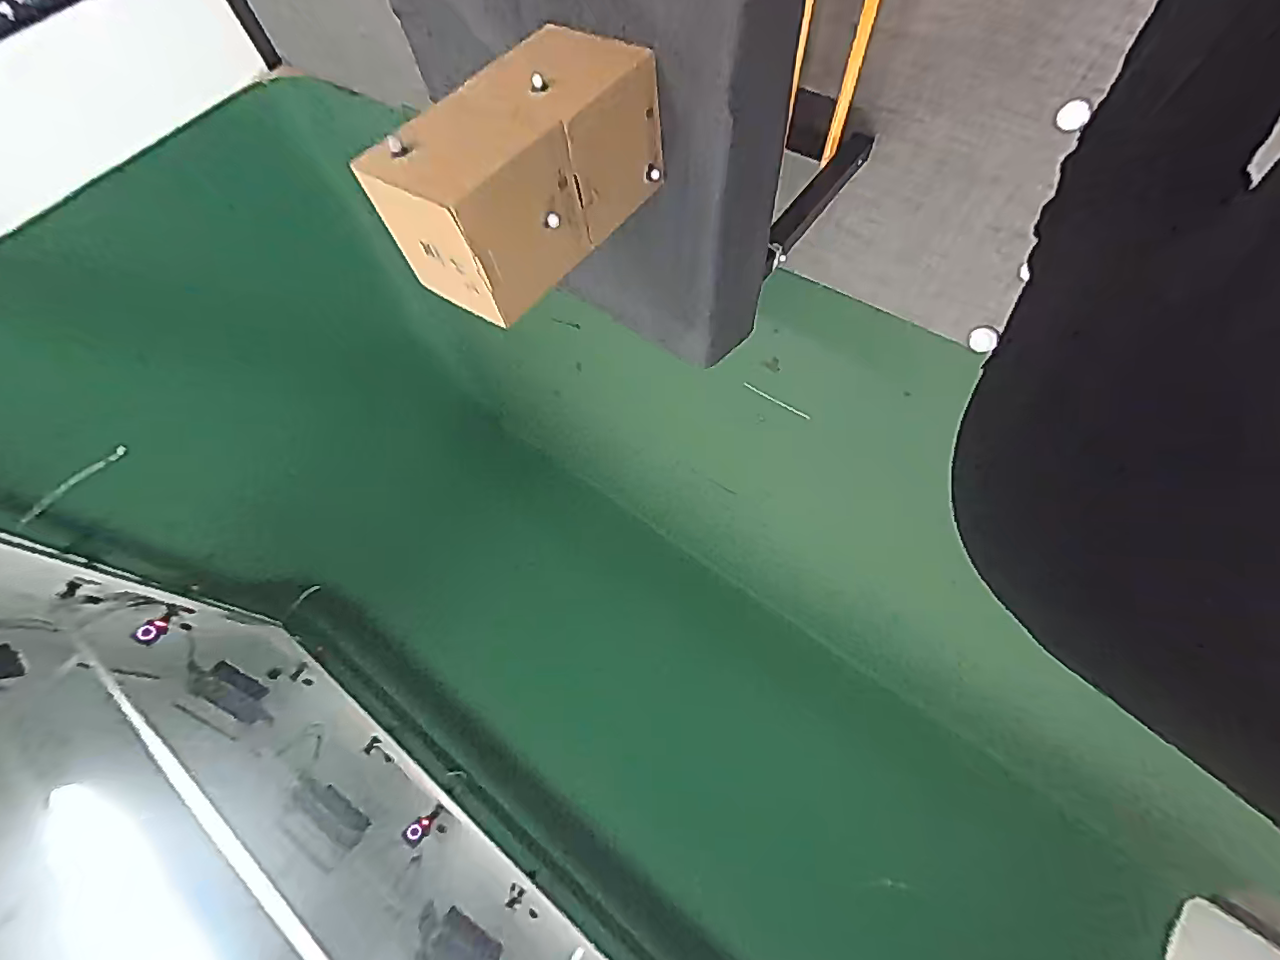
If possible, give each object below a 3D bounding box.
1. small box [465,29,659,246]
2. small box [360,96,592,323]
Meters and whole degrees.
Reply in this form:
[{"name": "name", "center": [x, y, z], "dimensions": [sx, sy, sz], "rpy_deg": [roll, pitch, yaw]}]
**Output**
[{"name": "small box", "center": [-0.086, -0.452, 0.713], "dimensions": [0.179, 0.176, 0.168], "rpy_deg": [33, 160, 22]}, {"name": "small box", "center": [-0.187, -0.332, 0.662], "dimensions": [0.179, 0.176, 0.168], "rpy_deg": [31, 160, 24]}]
